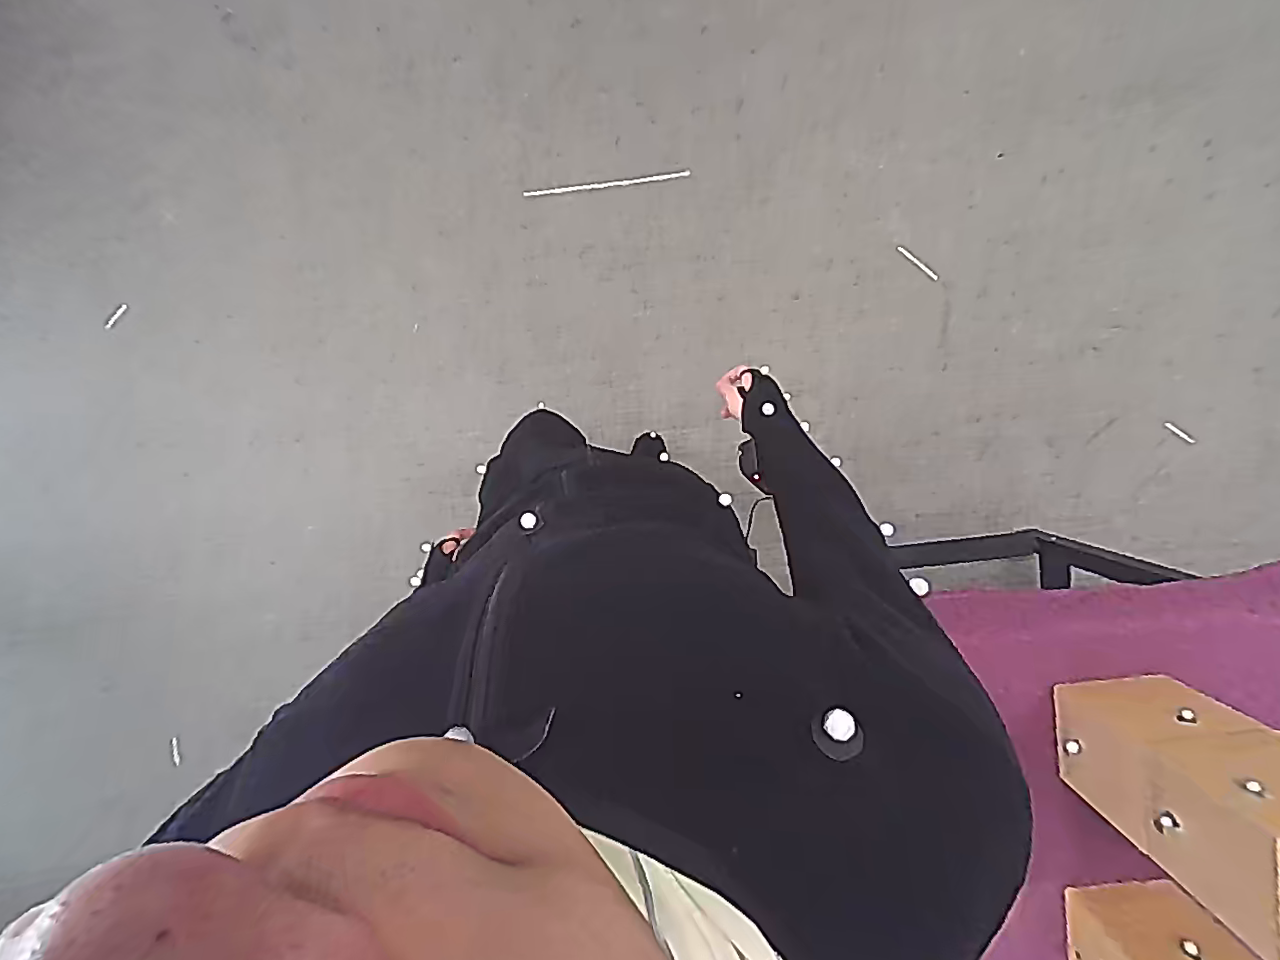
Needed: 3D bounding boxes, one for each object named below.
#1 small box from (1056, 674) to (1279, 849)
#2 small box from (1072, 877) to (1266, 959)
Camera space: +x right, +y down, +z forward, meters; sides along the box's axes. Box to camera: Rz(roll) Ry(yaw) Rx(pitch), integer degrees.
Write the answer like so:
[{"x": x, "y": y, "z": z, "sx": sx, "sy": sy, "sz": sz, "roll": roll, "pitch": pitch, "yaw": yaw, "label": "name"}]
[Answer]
[{"x": 0.774, "y": 0.407, "z": 0.810, "sx": 0.179, "sy": 0.176, "sz": 0.168, "roll": -8, "pitch": 95, "yaw": 4, "label": "small box"}, {"x": 0.816, "y": 0.764, "z": 0.843, "sx": 0.179, "sy": 0.176, "sz": 0.168, "roll": -8, "pitch": 94, "yaw": 2, "label": "small box"}]
